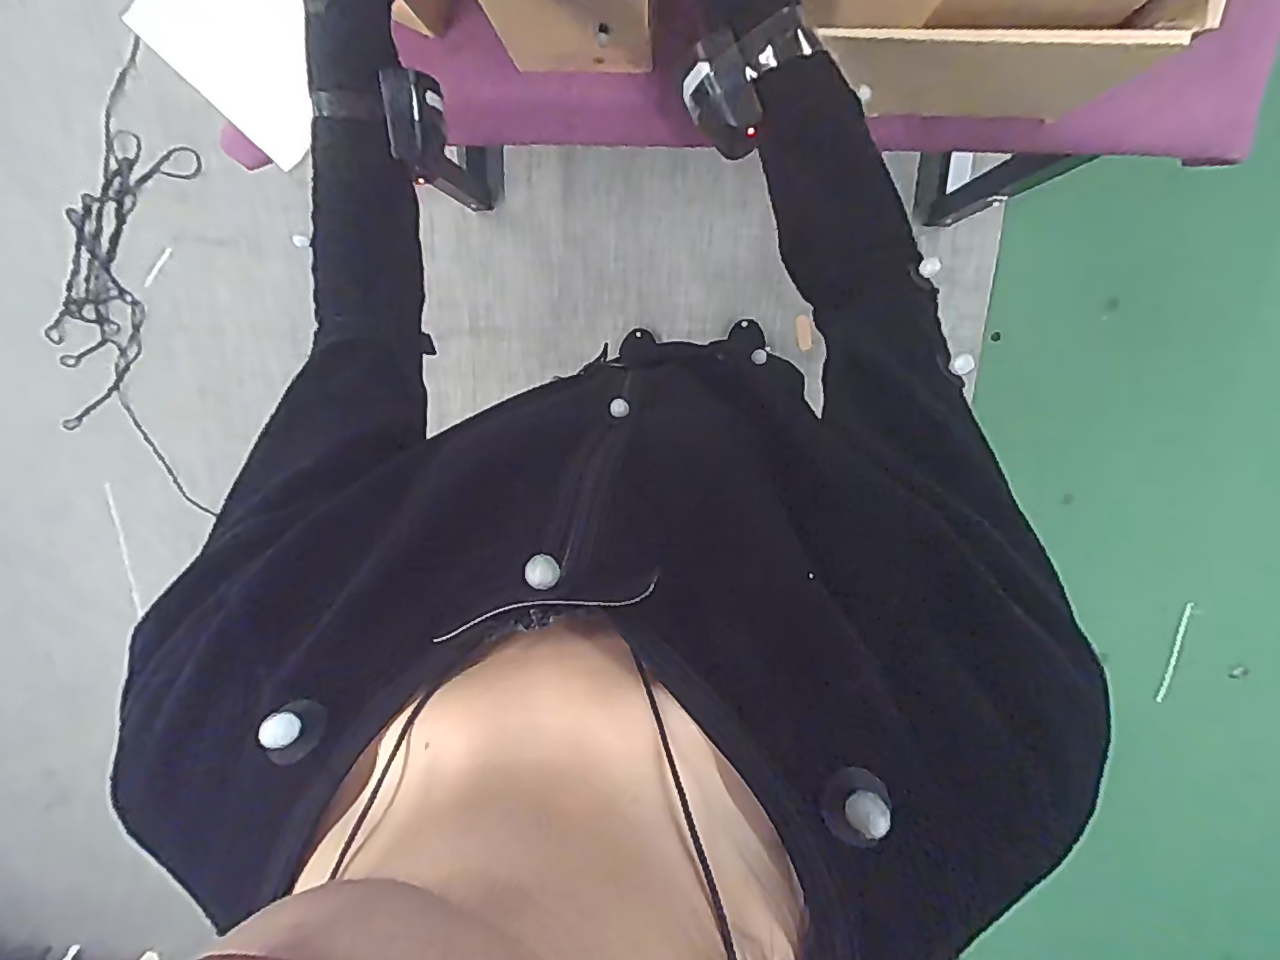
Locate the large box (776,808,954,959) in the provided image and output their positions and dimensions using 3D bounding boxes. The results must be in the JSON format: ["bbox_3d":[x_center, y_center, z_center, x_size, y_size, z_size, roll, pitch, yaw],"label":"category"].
[{"bbox_3d":[0.656,1.255,1.622,0.408,0.320,0.320,-12,103,6],"label":"large box"}]
